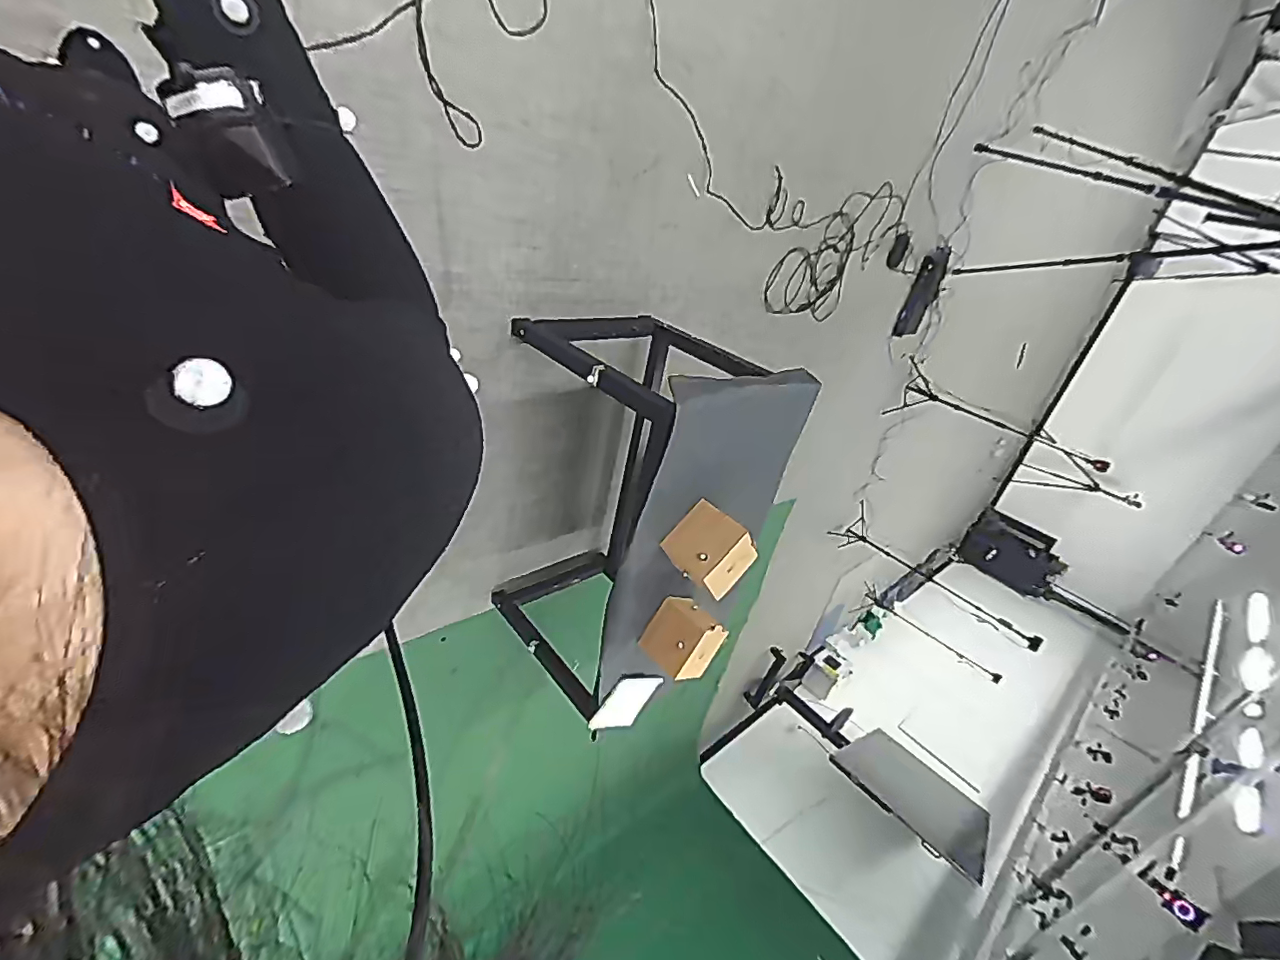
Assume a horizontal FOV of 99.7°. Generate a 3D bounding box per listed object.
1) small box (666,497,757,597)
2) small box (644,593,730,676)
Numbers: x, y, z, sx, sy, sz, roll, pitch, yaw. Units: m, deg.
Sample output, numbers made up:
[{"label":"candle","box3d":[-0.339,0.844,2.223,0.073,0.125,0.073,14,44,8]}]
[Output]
[{"label":"small box","box3d":[0.190,0.181,1.478,0.179,0.176,0.168,-47,144,-10]},{"label":"small box","box3d":[0.136,0.472,1.654,0.168,0.176,0.179,23,99,-53]}]
